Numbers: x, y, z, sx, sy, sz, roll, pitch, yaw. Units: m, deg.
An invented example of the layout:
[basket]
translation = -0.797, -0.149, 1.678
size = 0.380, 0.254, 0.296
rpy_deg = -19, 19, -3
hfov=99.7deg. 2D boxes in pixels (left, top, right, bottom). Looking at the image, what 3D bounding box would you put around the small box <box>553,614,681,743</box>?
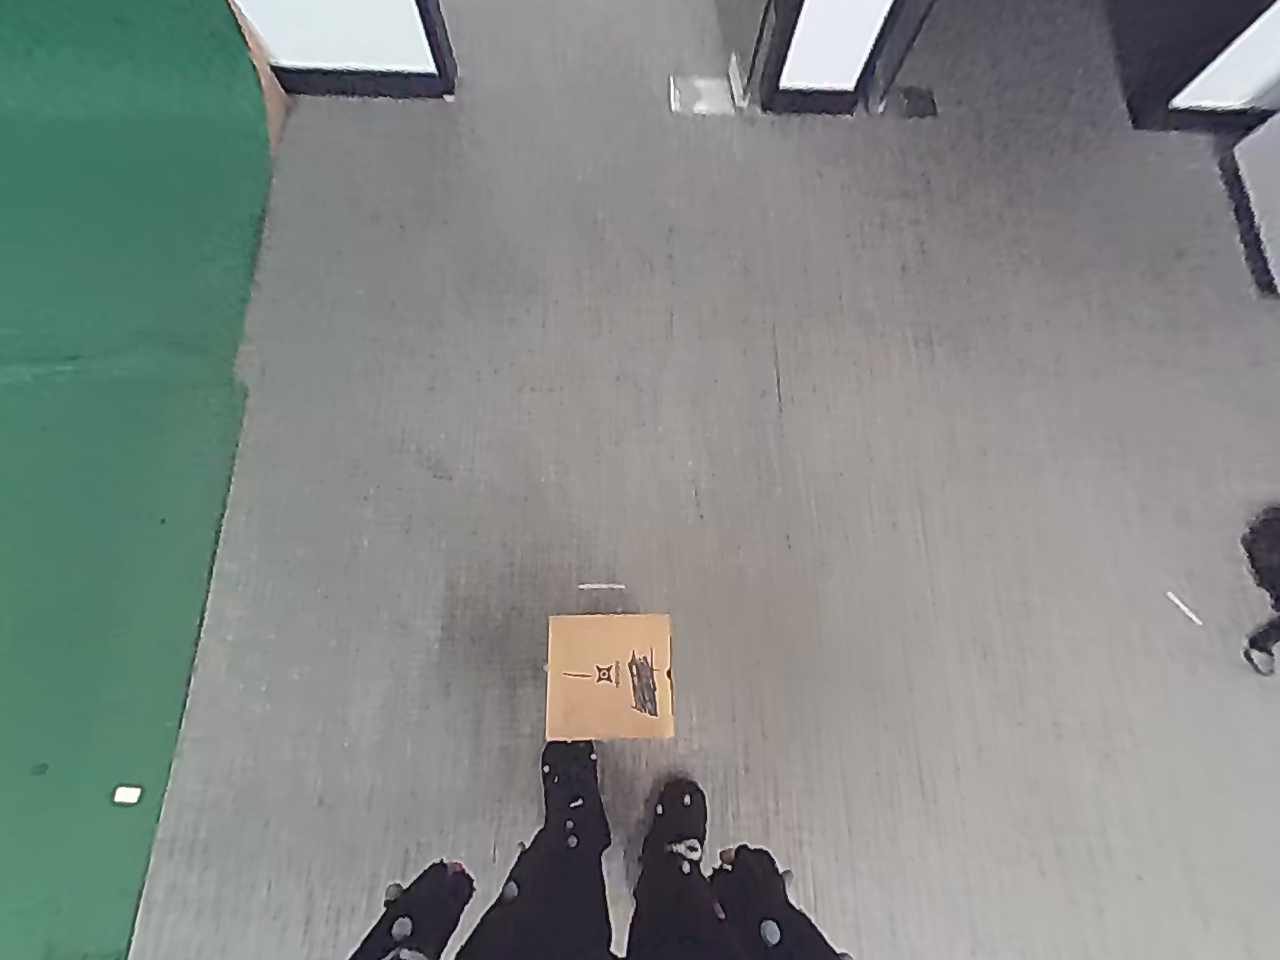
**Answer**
[small box]
translation = -0.041, 0.294, 0.833
size = 0.179, 0.176, 0.168
rpy_deg = -3, 75, -5
